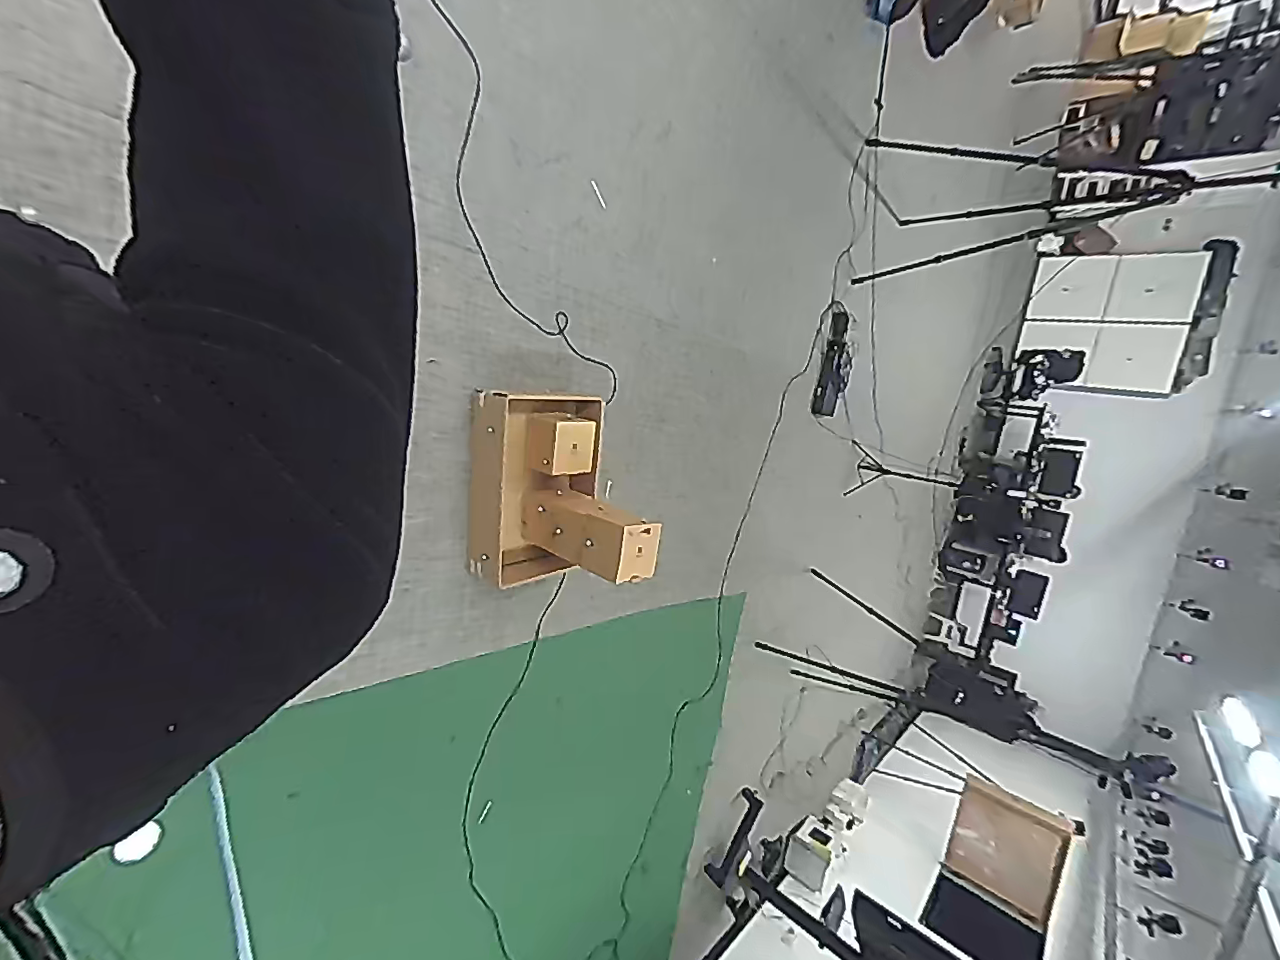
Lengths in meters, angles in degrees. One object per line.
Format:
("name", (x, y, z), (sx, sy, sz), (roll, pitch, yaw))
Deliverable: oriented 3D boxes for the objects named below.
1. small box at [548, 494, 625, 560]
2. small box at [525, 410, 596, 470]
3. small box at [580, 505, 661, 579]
("small box", (-0.175, 0.147, 1.773), (0.179, 0.176, 0.168), (-5, 106, -47))
("small box", (-0.271, -0.139, 1.818), (0.168, 0.176, 0.179), (-7, 109, -46))
("small box", (-0.064, 0.184, 1.655), (0.168, 0.176, 0.179), (0, 103, -48))
